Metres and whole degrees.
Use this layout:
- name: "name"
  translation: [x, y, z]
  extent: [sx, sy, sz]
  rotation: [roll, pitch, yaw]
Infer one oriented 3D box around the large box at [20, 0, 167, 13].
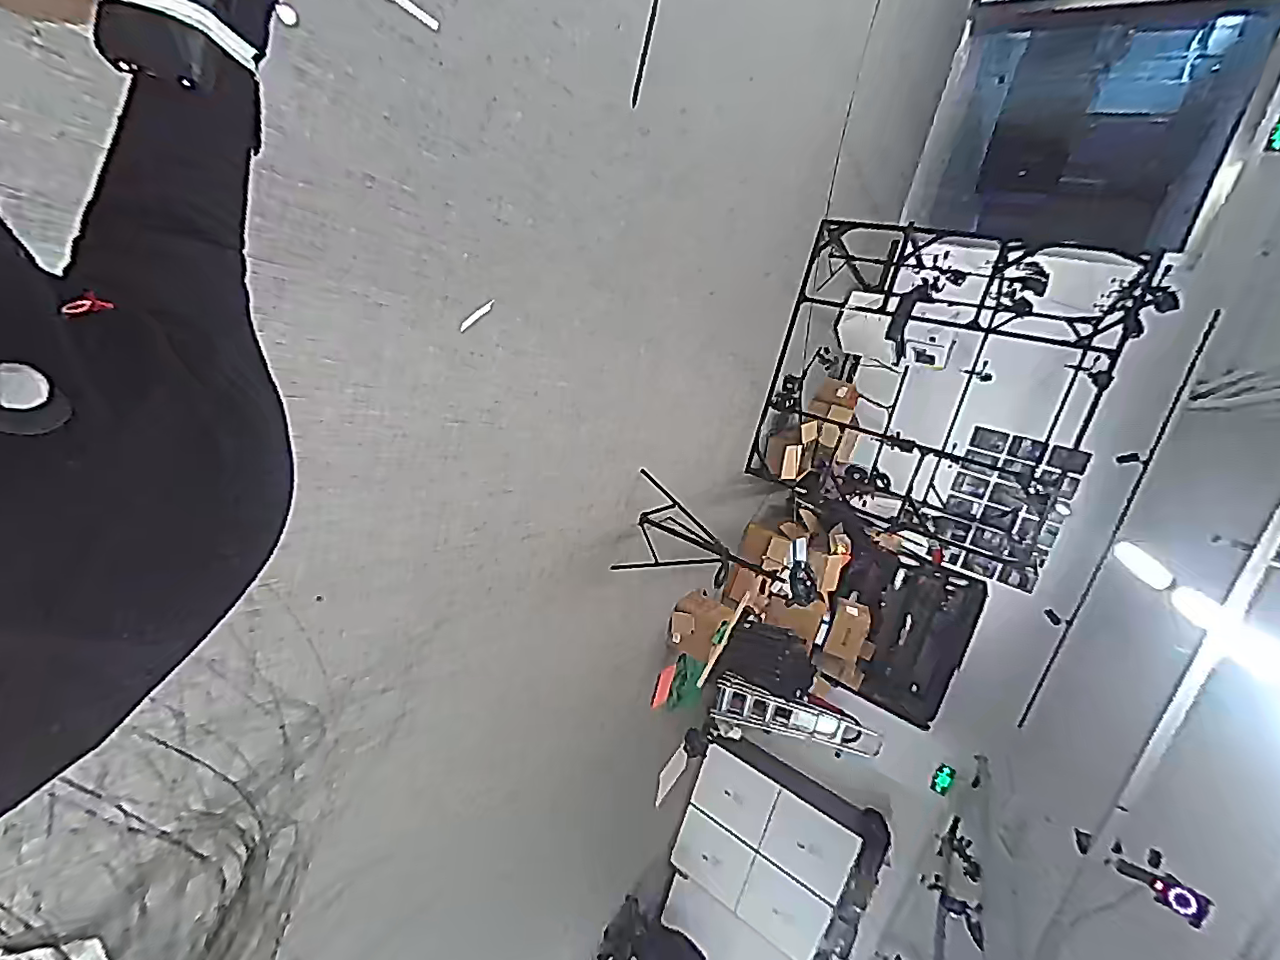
- name: "large box"
  translation: [-0.490, -0.522, 0.239]
  extent: [0.408, 0.320, 0.320]
  rotation: [3, 113, -62]
